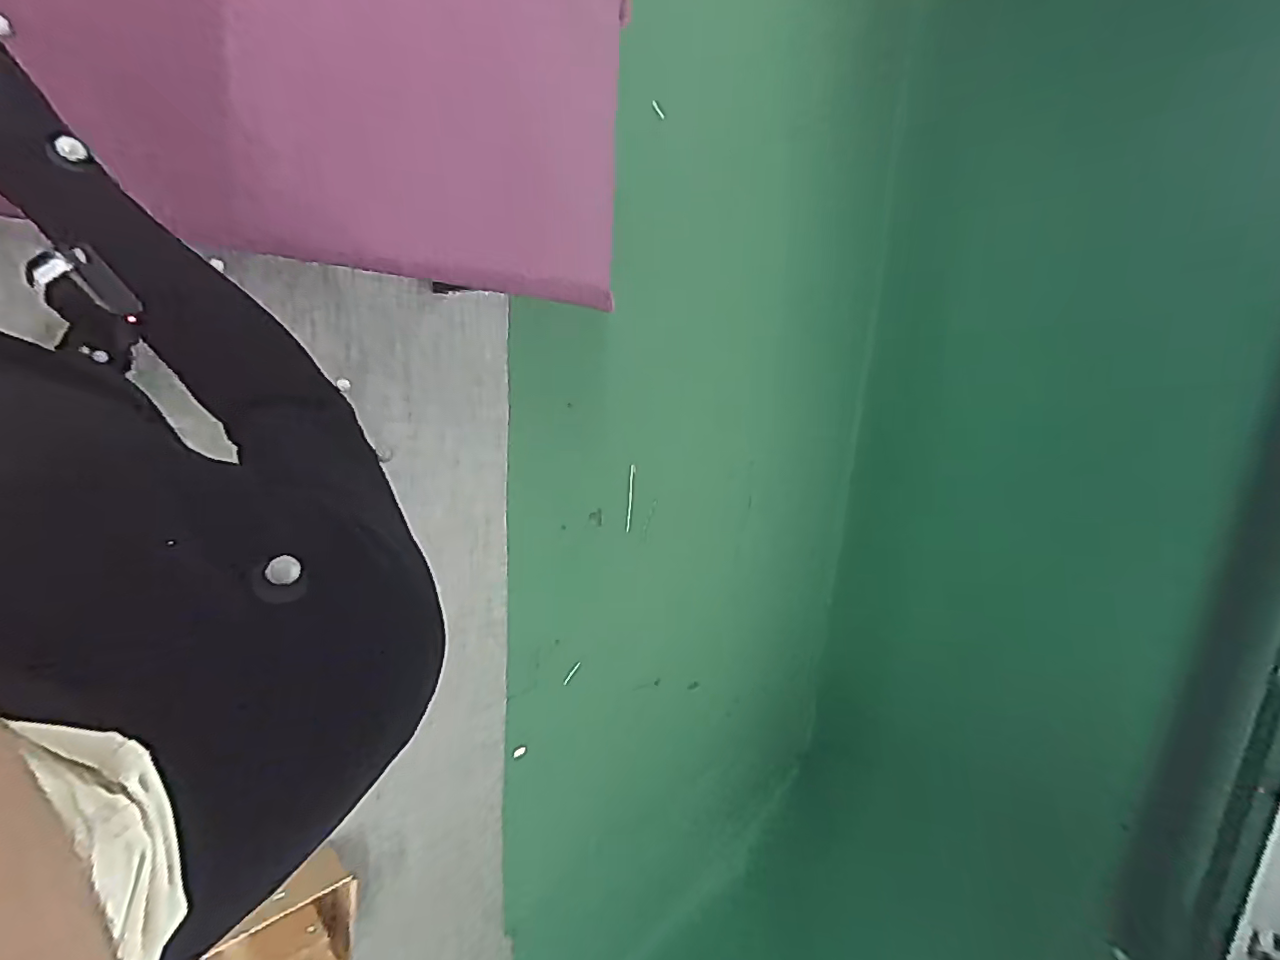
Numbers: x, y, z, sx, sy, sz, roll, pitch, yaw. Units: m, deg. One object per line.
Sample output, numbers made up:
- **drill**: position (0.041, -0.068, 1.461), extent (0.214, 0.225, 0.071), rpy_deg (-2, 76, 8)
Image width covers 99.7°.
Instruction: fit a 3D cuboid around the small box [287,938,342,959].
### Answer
- **small box**: position (-0.901, 1.420, 1.470), extent (0.168, 0.176, 0.179), rpy_deg (-3, 104, -46)
